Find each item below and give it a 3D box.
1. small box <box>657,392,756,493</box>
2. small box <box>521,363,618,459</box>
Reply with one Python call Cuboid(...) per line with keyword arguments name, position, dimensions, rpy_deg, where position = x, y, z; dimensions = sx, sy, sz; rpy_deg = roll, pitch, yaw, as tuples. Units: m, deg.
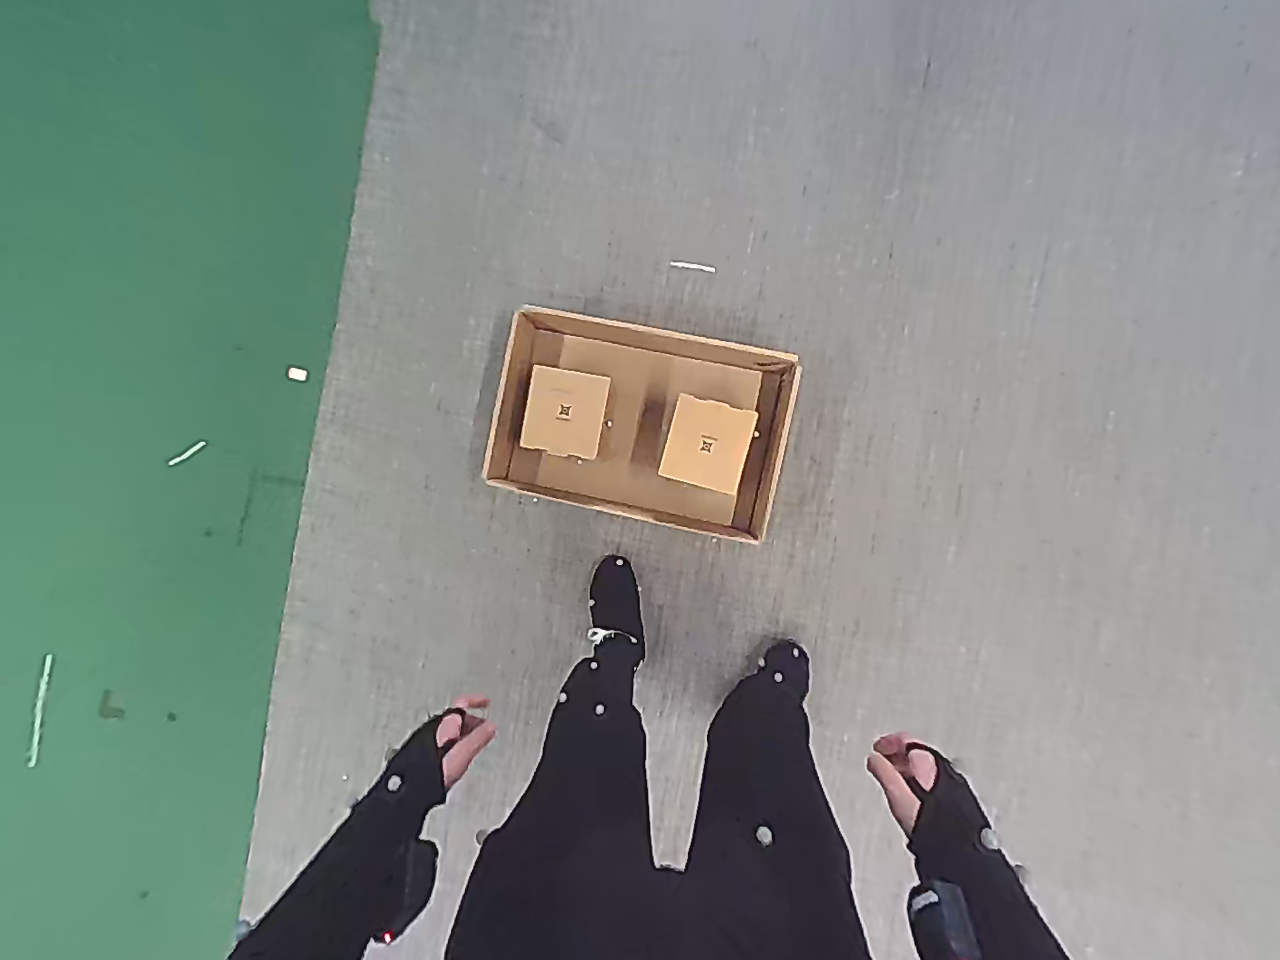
Cuboid(name="small box", position=(0.144, -0.078, 1.174), dimensions=(0.168, 0.176, 0.179), rpy_deg=(15, 92, 5))
Cuboid(name="small box", position=(-0.149, -0.144, 1.199), dimensions=(0.168, 0.176, 0.179), rpy_deg=(11, 92, 3))
